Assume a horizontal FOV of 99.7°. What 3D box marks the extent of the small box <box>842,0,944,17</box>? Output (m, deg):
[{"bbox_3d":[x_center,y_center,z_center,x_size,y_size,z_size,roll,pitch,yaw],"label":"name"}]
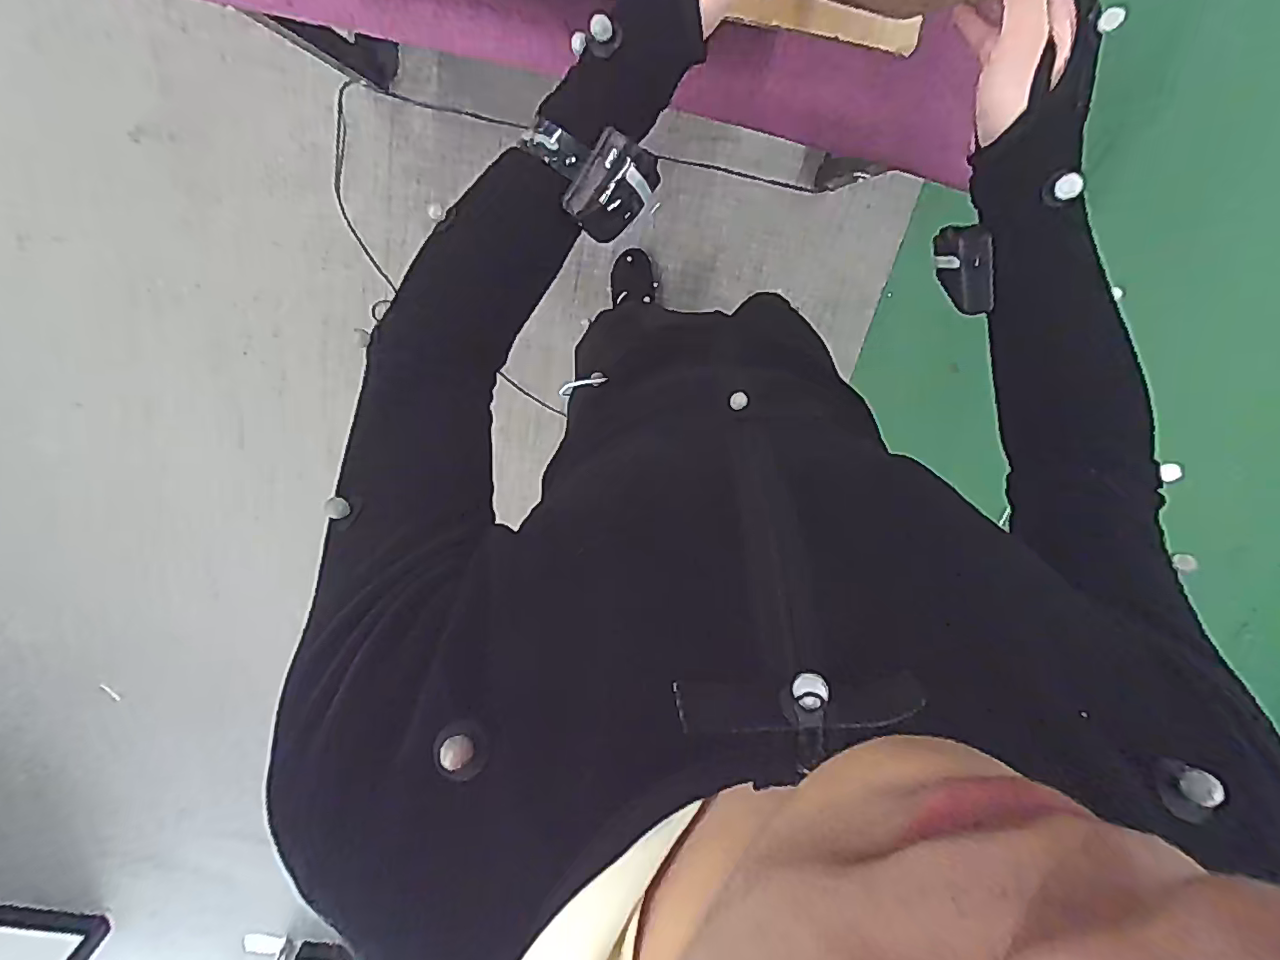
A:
[{"bbox_3d":[0.172,-0.435,0.347,0.168,0.176,0.179,7,122,-9],"label":"small box"}]
